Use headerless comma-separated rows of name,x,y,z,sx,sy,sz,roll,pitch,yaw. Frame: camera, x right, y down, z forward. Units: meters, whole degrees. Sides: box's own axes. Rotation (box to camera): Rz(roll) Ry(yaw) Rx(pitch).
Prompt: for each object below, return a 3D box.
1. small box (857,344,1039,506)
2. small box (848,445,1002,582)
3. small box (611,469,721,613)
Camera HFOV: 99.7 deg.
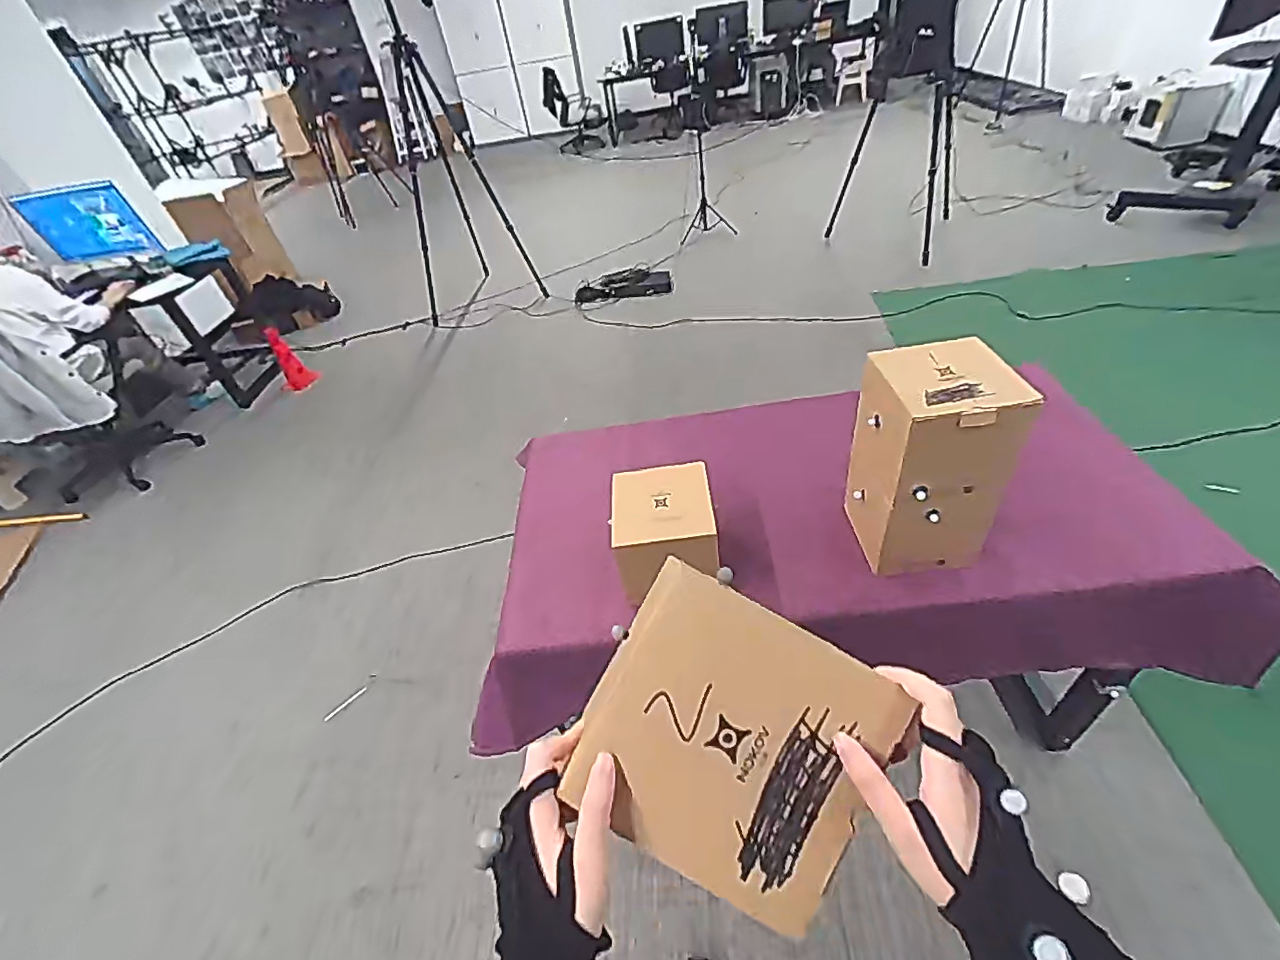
small box,0.438,-0.075,0.805,0.168,0.176,0.179,-8,41,4
small box,0.462,0.047,0.913,0.168,0.176,0.179,-8,40,5
small box,0.047,0.107,0.944,0.168,0.176,0.179,-8,42,5
